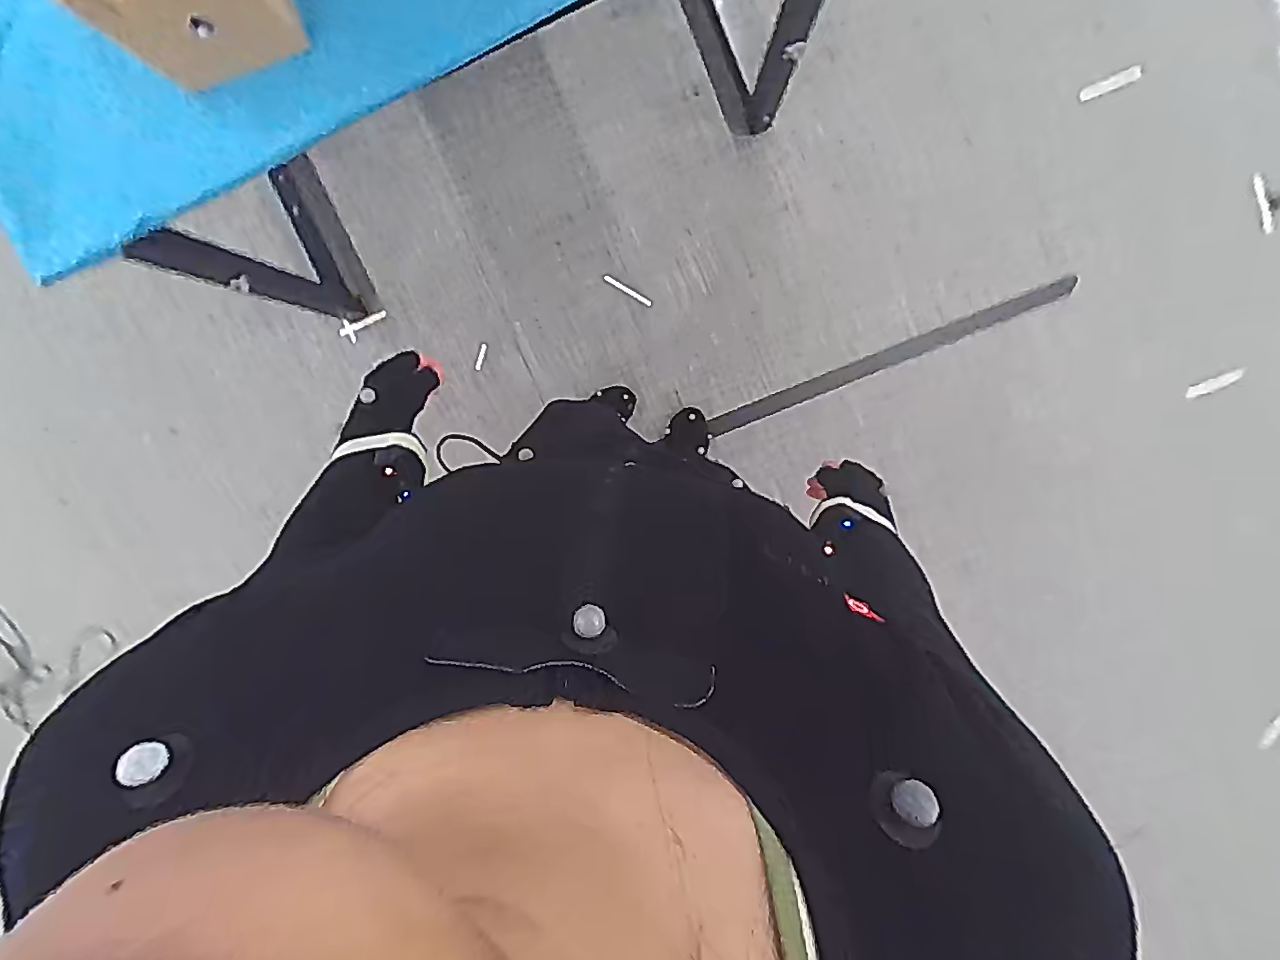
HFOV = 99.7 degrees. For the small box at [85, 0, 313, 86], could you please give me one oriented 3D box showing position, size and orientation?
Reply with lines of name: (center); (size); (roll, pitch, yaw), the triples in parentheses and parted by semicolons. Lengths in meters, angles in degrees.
small box: (-0.503, -0.582, 0.575); (0.168, 0.176, 0.179); (-18, 98, 2)
